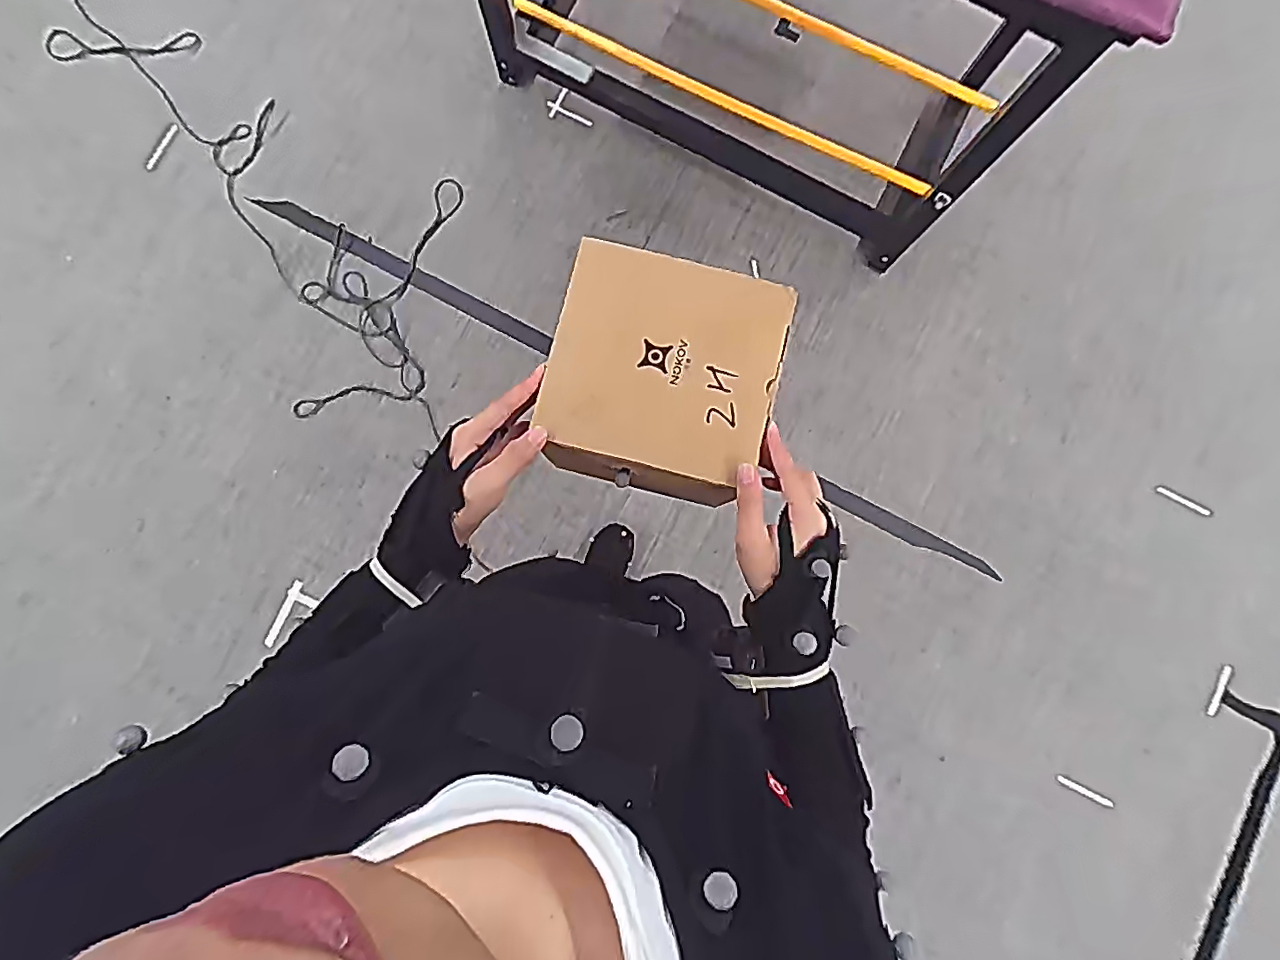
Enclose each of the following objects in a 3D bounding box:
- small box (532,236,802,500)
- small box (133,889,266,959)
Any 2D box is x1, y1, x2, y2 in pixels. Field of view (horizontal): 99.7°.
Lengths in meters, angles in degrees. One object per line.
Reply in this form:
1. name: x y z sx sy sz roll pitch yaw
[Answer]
1. small box: 0.020 -0.082 0.487 0.179 0.176 0.168 14 84 0
2. small box: -0.924 1.008 1.113 0.168 0.176 0.179 24 84 0
